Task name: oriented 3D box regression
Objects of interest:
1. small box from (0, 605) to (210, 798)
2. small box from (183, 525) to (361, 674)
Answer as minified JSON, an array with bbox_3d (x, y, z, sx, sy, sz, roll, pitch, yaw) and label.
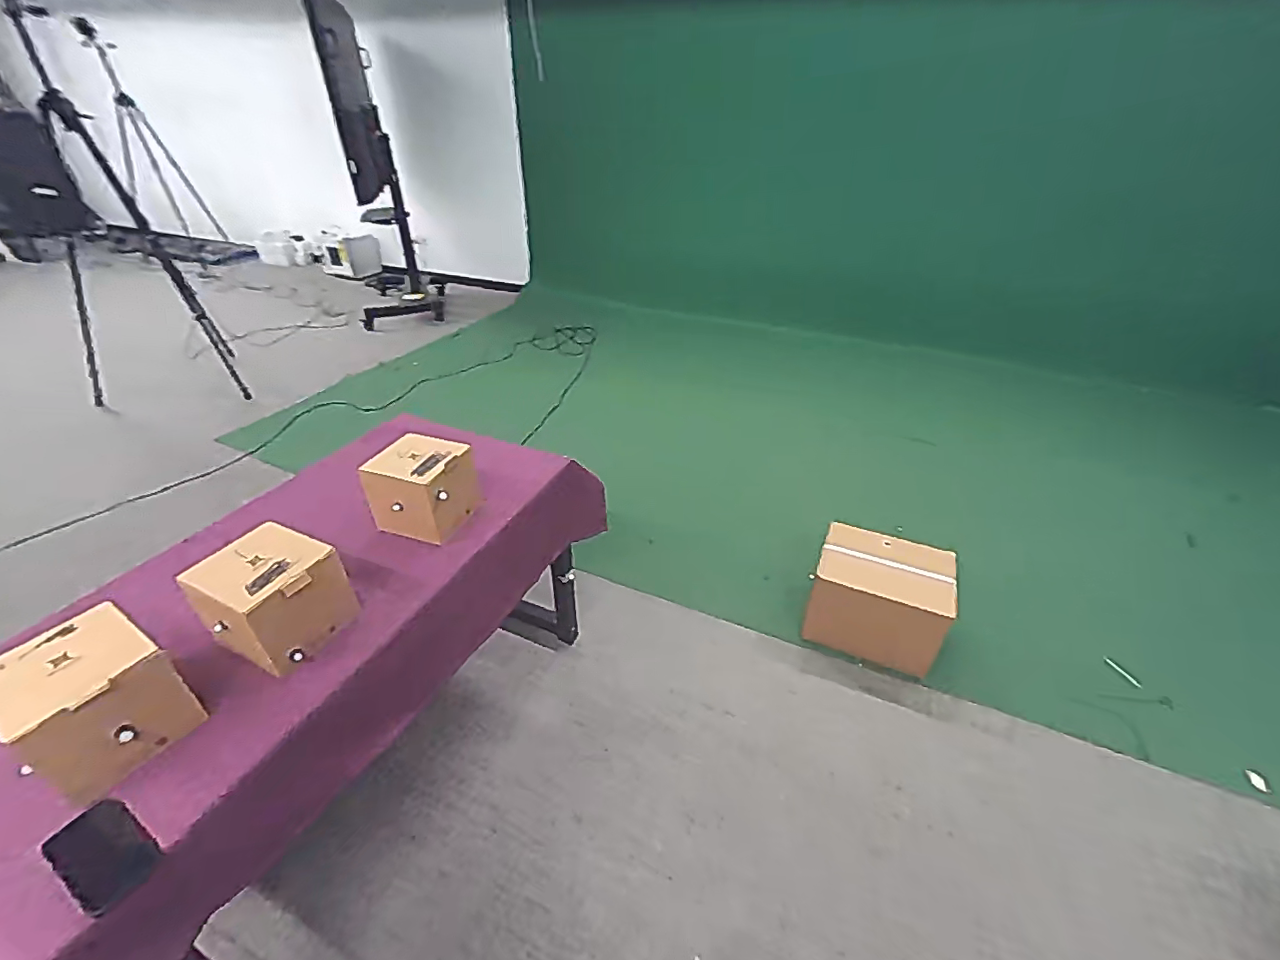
[{"bbox_3d":[-0.785,0.324,0.790,0.179,0.176,0.168,21,39,26],"label":"small box"},{"bbox_3d":[-0.634,0.211,0.955,0.179,0.176,0.168,15,37,21],"label":"small box"}]
